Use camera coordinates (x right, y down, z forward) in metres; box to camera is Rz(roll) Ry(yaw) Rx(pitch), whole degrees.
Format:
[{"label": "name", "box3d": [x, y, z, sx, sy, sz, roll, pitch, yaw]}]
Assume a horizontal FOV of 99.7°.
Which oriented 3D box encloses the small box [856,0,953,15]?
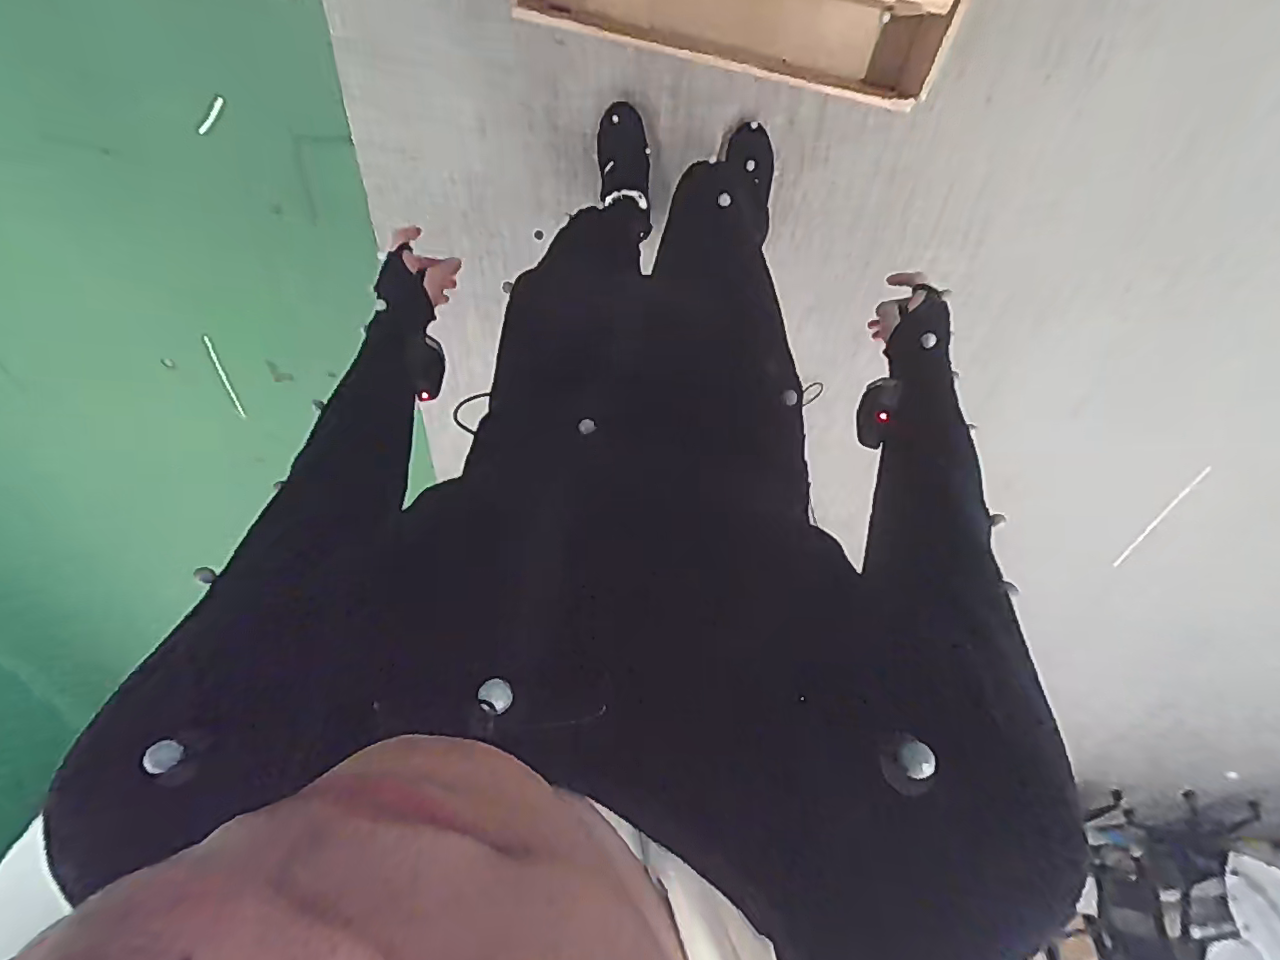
[{"label": "small box", "box3d": [0.270, -0.624, 0.571, 0.168, 0.176, 0.179, 11, 130, -4]}]
